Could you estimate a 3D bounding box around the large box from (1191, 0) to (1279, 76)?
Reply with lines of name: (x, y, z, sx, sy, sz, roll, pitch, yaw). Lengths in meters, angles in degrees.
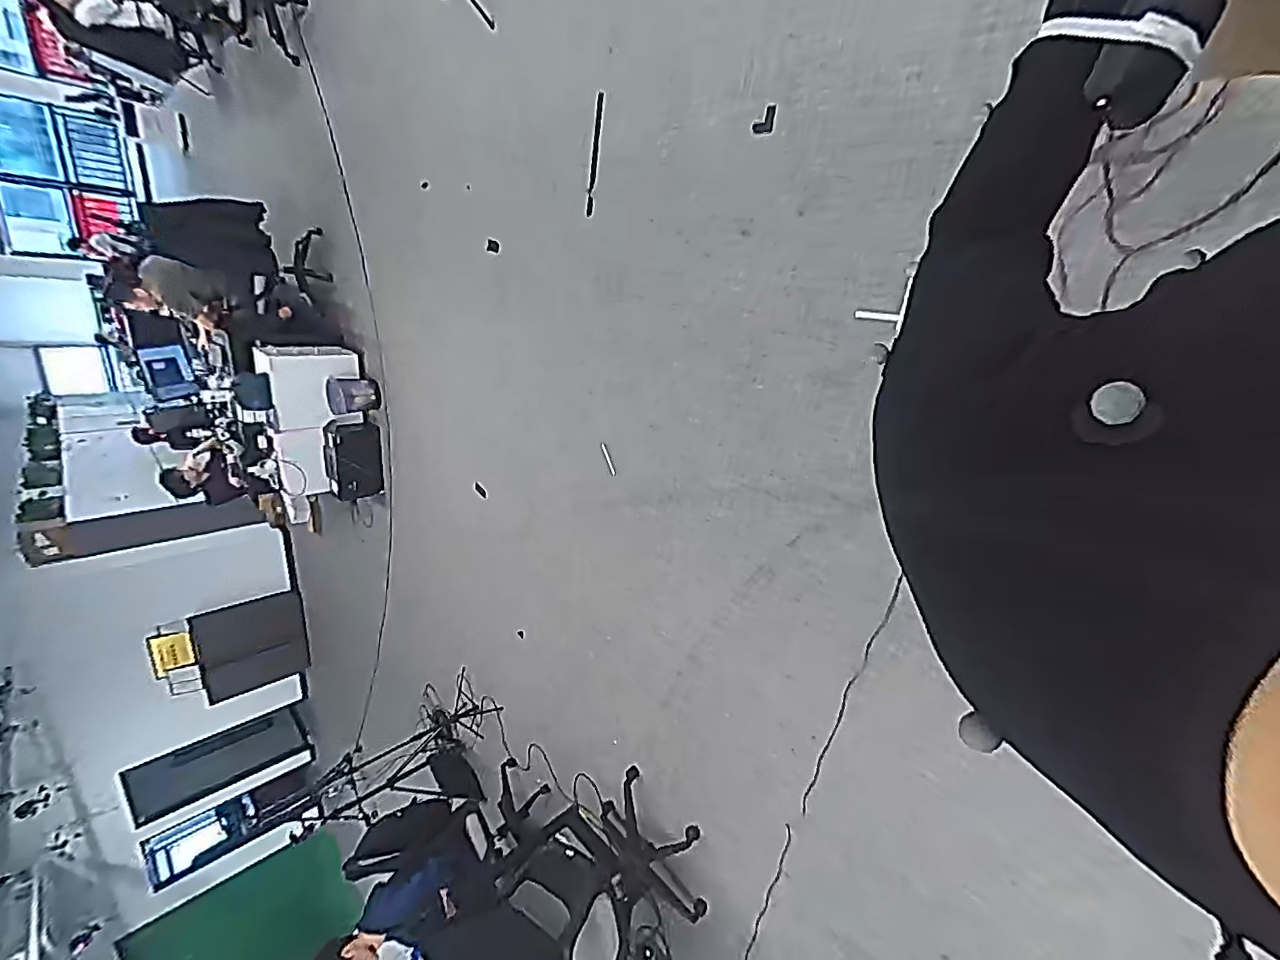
large box: (0.601, -0.430, 0.256, 0.408, 0.320, 0.320, 26, 124, 36)
